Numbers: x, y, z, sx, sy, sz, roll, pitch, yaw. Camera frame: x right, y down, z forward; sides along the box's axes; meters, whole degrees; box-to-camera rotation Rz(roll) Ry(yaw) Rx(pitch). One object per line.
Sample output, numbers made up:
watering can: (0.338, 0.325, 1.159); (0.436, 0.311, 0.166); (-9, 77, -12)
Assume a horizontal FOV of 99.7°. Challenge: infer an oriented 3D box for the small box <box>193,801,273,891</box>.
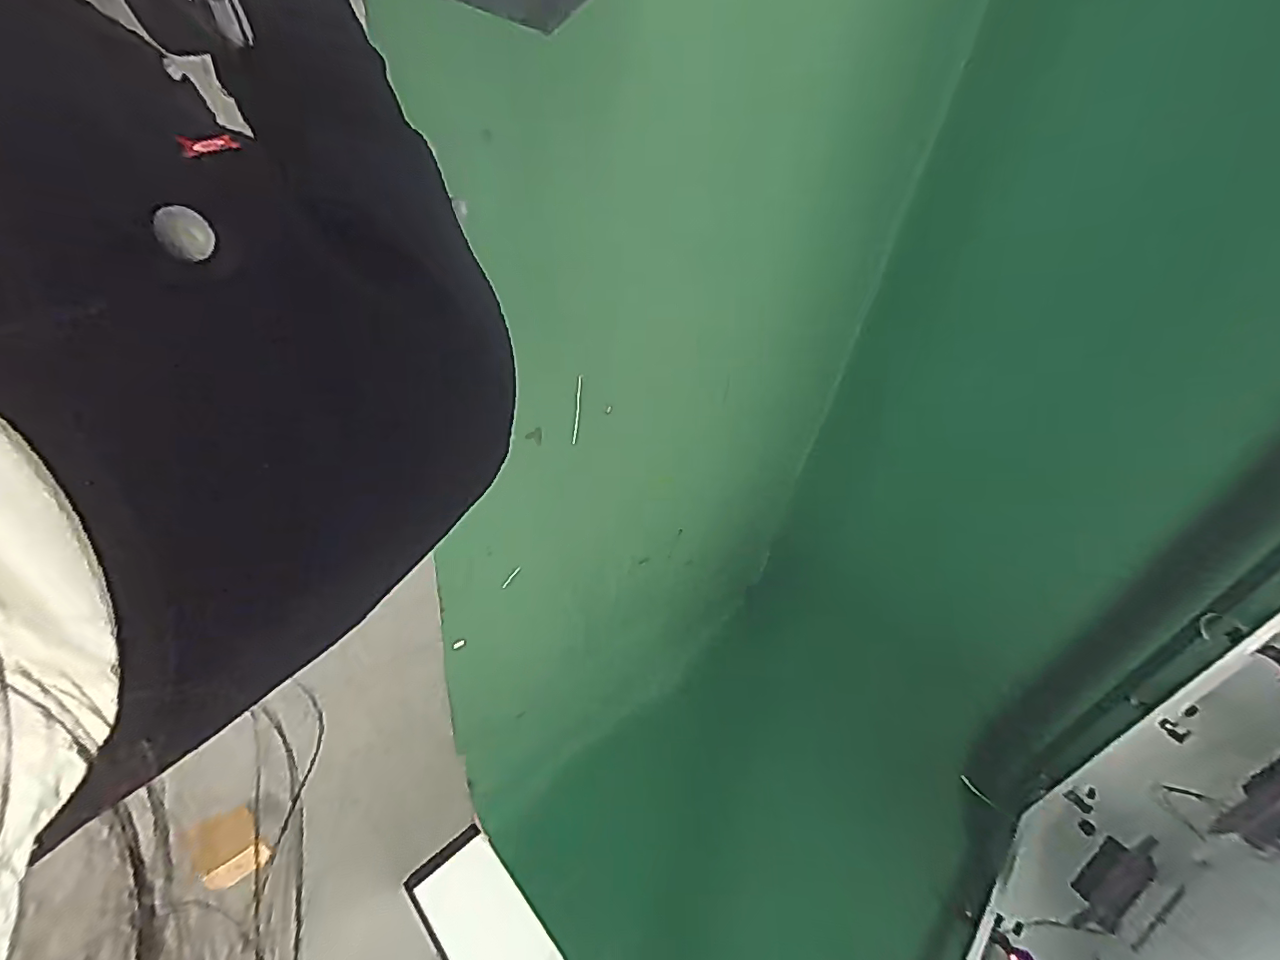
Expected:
small box: (-1.464, 1.307, 1.939); (0.179, 0.176, 0.168); (-30, 142, -37)
